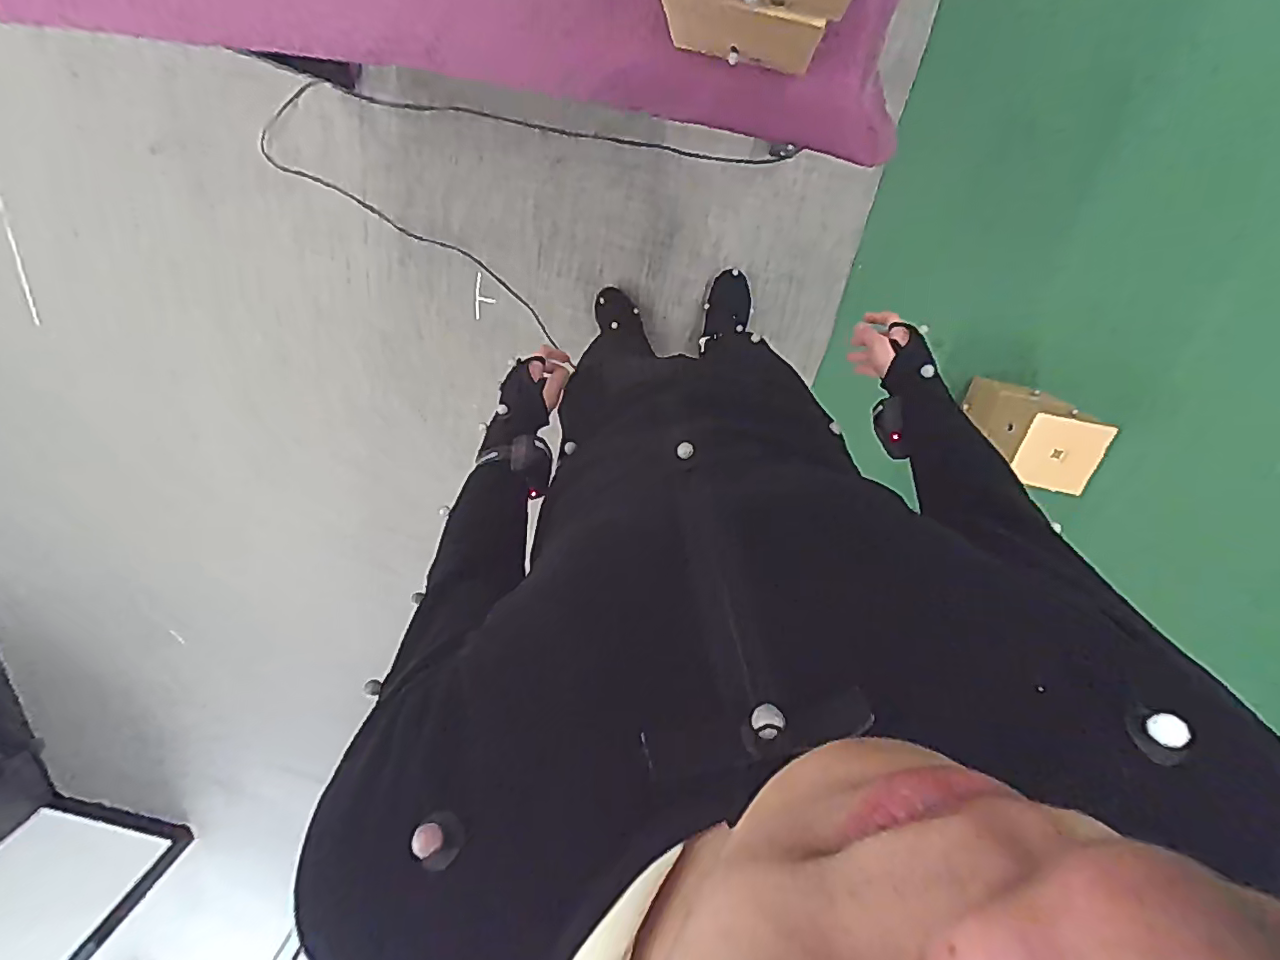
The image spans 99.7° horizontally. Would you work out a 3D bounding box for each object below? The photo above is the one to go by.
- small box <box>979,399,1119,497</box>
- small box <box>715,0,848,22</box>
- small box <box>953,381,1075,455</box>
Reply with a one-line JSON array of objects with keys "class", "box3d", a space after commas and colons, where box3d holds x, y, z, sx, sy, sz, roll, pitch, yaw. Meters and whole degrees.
[{"class": "small box", "box3d": [0.942, -0.083, 1.269, 0.179, 0.176, 0.168, 12, 114, 2]}, {"class": "small box", "box3d": [0.113, -0.493, 0.404, 0.168, 0.176, 0.179, 14, 115, 4]}, {"class": "small box", "box3d": [0.965, -0.151, 1.413, 0.179, 0.176, 0.168, 13, 115, 4]}]
